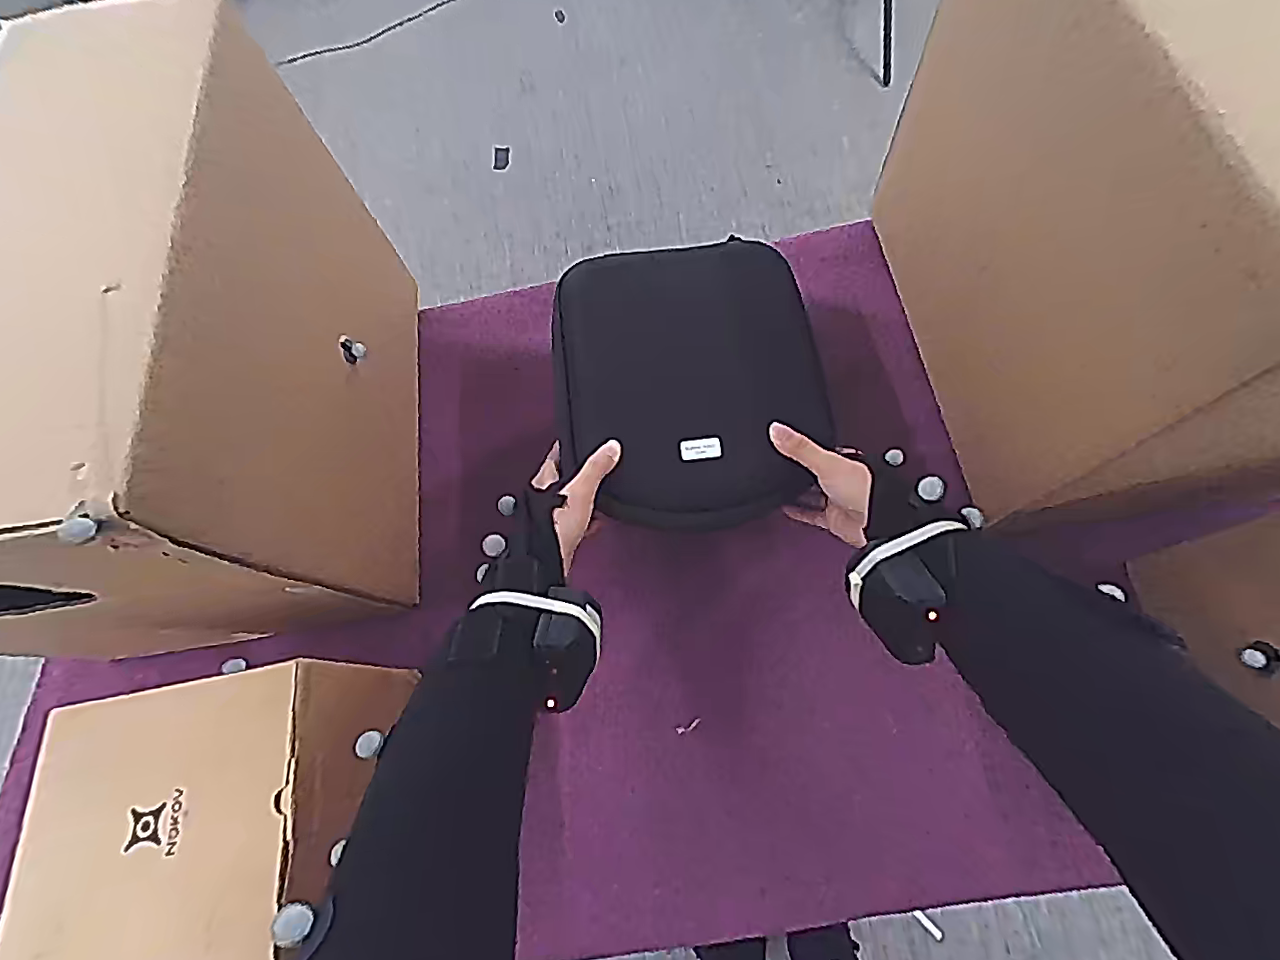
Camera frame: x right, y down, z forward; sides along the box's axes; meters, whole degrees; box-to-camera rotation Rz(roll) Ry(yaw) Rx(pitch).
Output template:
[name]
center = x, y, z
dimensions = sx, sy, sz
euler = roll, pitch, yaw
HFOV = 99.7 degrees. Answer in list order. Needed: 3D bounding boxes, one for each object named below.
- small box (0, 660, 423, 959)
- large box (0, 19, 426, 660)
[small box]
center = -0.286, 0.242, 0.404
dimensions = 0.179, 0.176, 0.168
euler = -12, 67, 1
[large box]
center = -0.404, -0.080, 0.468
dimensions = 0.320, 0.320, 0.408
euler = -11, 70, 1
